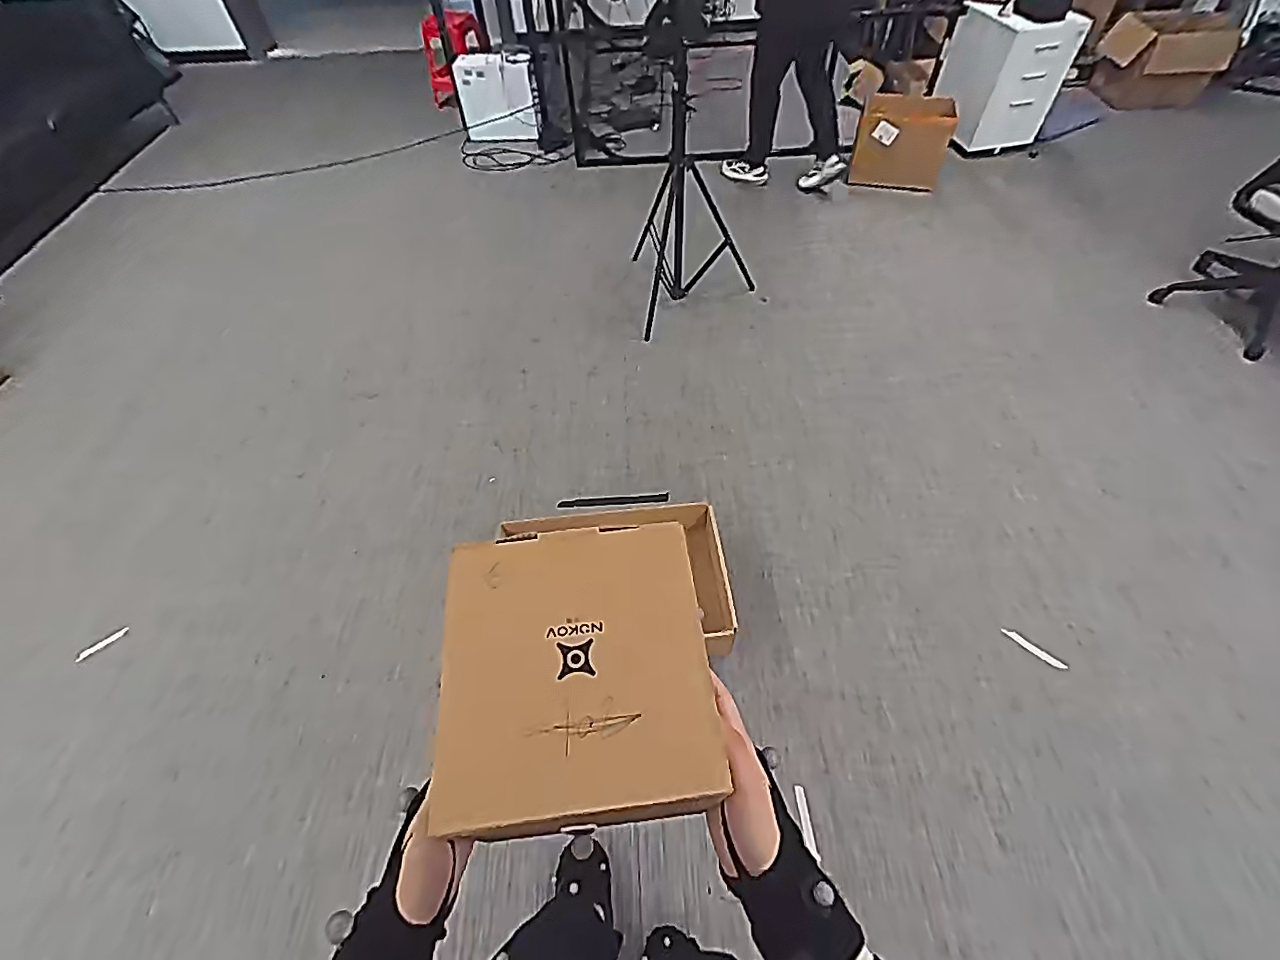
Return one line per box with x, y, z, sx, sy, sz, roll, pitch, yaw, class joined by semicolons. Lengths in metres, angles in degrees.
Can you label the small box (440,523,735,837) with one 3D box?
-0.038;0.154;0.409;0.168;0.176;0.179;-6;56;-4;small box
